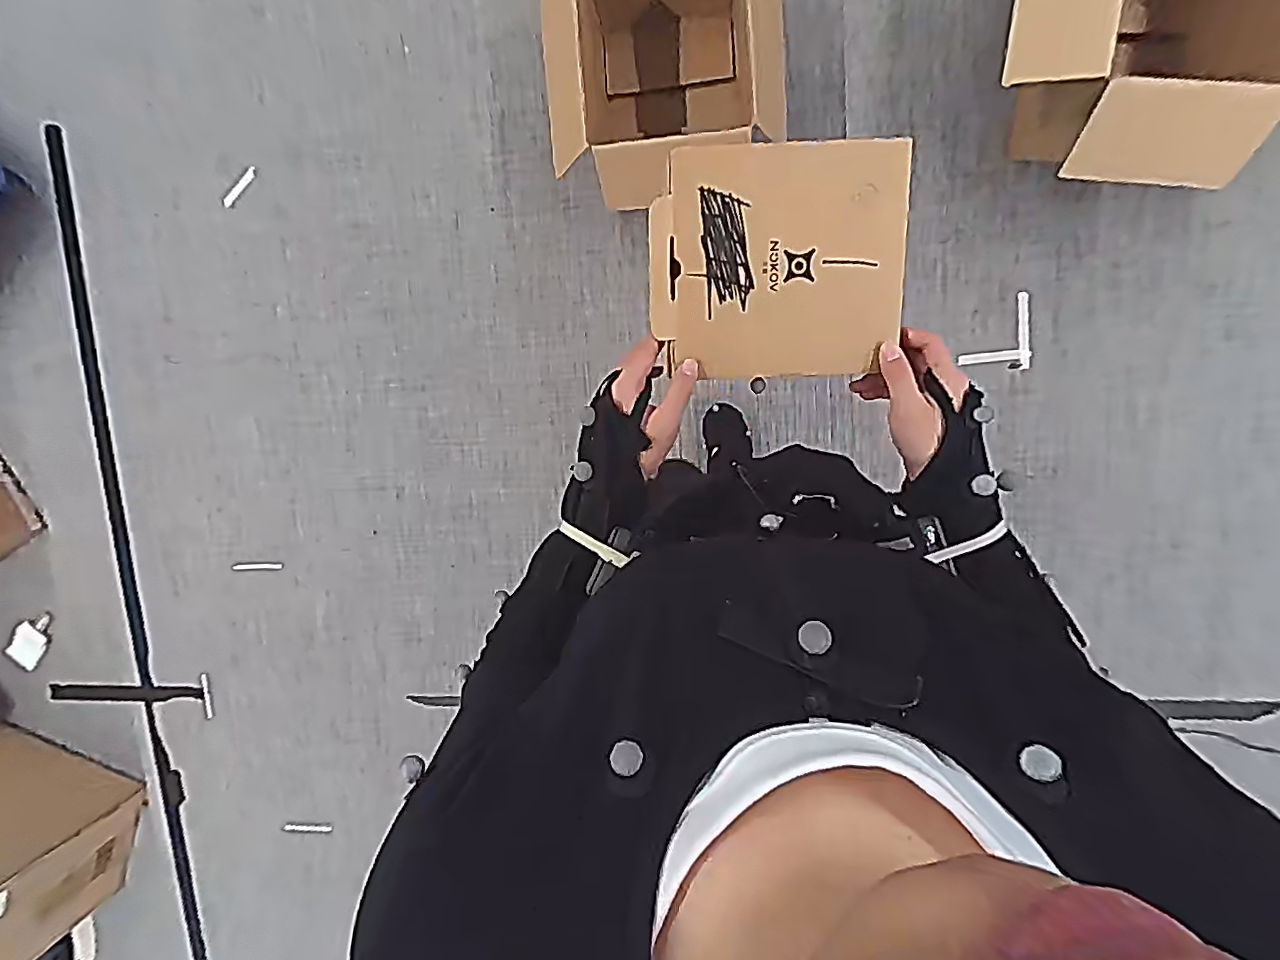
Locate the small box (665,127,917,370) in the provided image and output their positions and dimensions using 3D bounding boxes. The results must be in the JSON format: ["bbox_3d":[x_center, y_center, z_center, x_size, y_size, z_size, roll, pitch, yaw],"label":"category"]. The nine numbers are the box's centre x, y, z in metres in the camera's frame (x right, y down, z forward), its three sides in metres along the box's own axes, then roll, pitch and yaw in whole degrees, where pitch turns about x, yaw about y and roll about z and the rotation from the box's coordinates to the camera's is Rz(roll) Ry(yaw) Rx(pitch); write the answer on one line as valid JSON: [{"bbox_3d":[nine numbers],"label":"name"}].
[{"bbox_3d":[0.111,-0.182,0.473,0.179,0.176,0.168,-2,103,0],"label":"small box"}]
